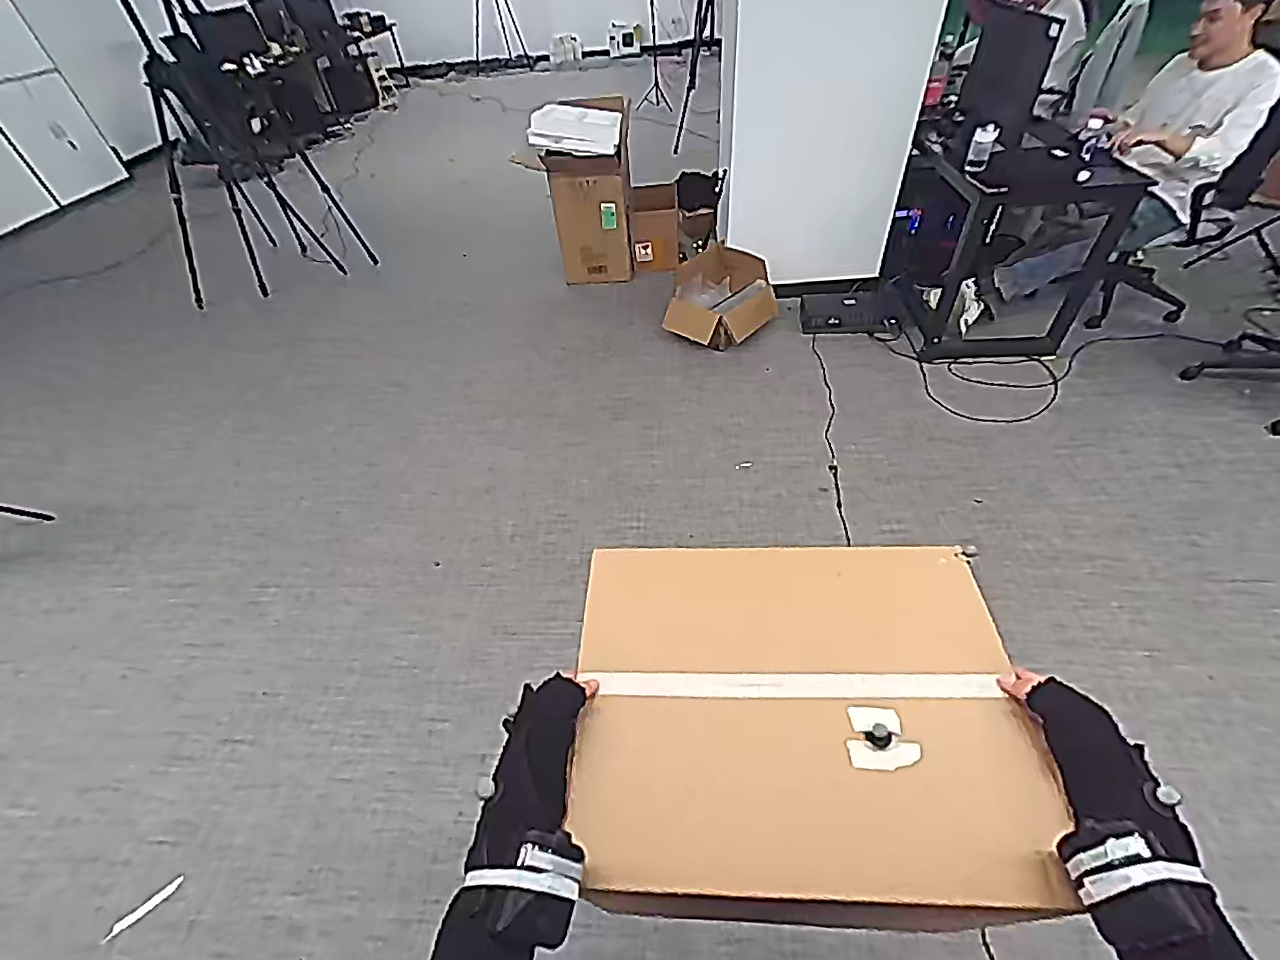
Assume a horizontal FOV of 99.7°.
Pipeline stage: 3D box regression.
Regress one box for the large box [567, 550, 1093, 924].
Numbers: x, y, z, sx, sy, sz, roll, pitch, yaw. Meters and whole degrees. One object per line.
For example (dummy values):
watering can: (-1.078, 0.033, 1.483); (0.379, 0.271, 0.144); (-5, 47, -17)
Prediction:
large box: (0.151, 0.296, 0.618); (0.408, 0.320, 0.320); (-1, 48, 4)
